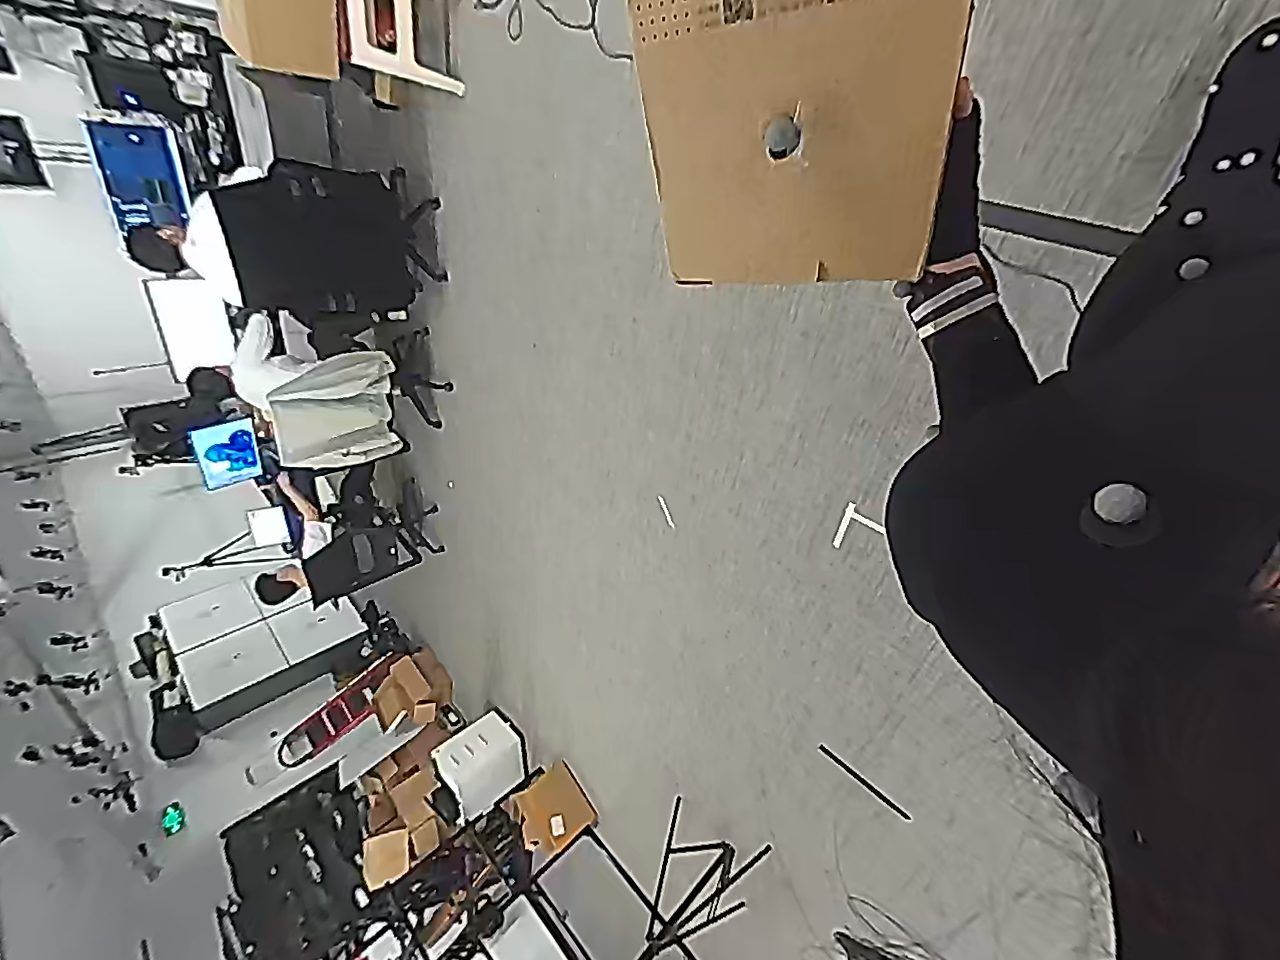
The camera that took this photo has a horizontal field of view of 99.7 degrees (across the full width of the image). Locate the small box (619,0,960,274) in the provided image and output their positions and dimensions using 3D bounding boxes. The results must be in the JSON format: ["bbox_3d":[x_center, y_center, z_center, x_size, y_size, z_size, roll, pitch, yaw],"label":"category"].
[{"bbox_3d":[0.101,-0.250,0.339,0.168,0.179,0.176,9,139,24],"label":"small box"}]
